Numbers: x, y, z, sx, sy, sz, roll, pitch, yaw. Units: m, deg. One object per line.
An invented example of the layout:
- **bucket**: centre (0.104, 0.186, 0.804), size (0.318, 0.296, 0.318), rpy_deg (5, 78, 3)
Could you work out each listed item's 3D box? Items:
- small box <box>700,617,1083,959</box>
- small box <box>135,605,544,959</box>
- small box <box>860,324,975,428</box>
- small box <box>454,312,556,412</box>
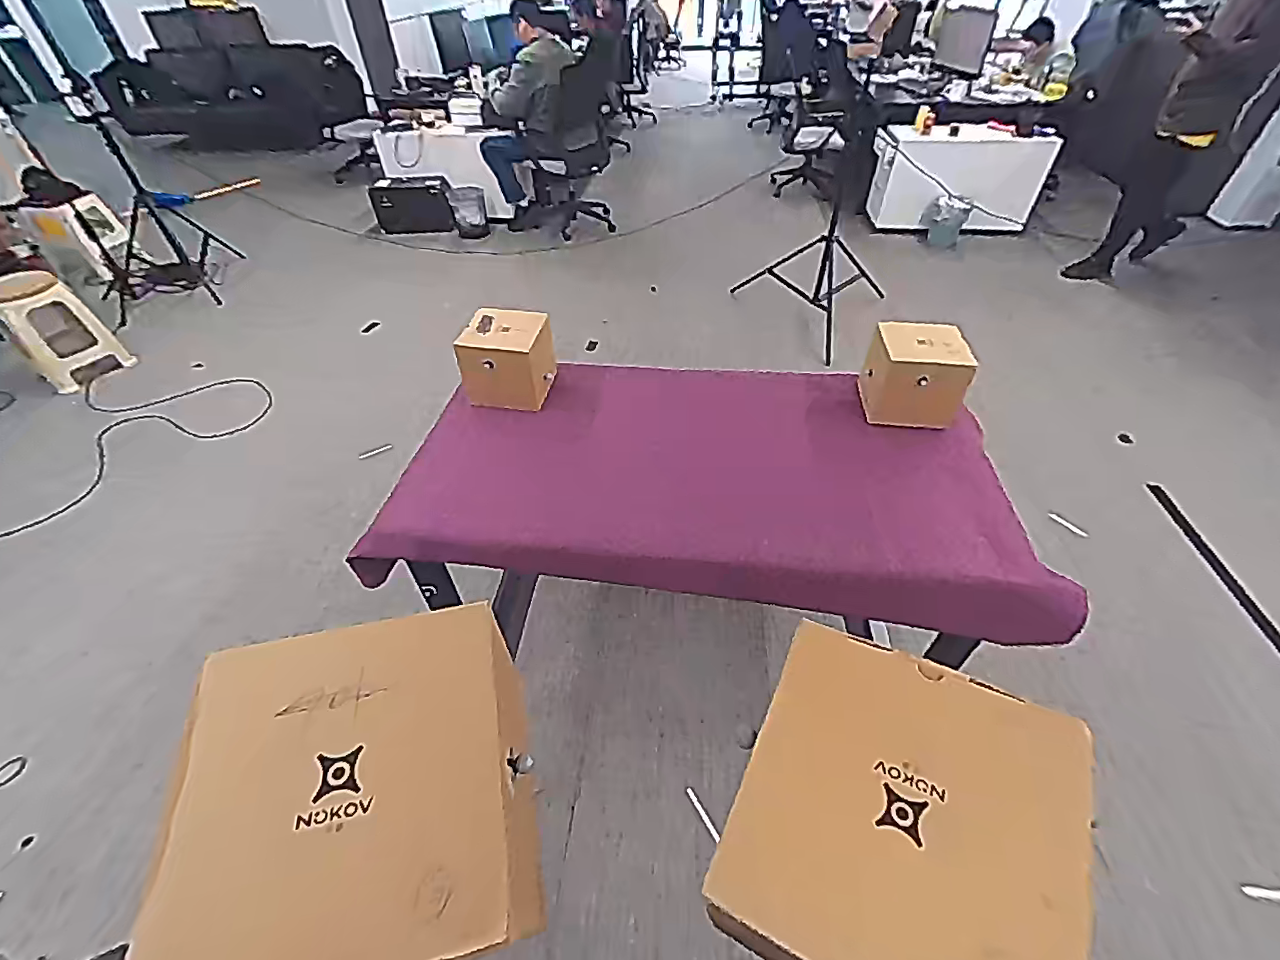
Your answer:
- **small box**: centre (0.152, 0.229, 0.350), size (0.168, 0.176, 0.179), rpy_deg (16, 51, 24)
- **small box**: centre (-0.159, 0.209, 0.347), size (0.168, 0.176, 0.179), rpy_deg (-9, 52, -11)
- **small box**: centre (0.609, -0.233, 1.218), size (0.179, 0.176, 0.168), rpy_deg (5, 45, 5)
- **small box**: centre (-0.311, -0.280, 1.288), size (0.179, 0.176, 0.168), rpy_deg (7, 47, 6)
